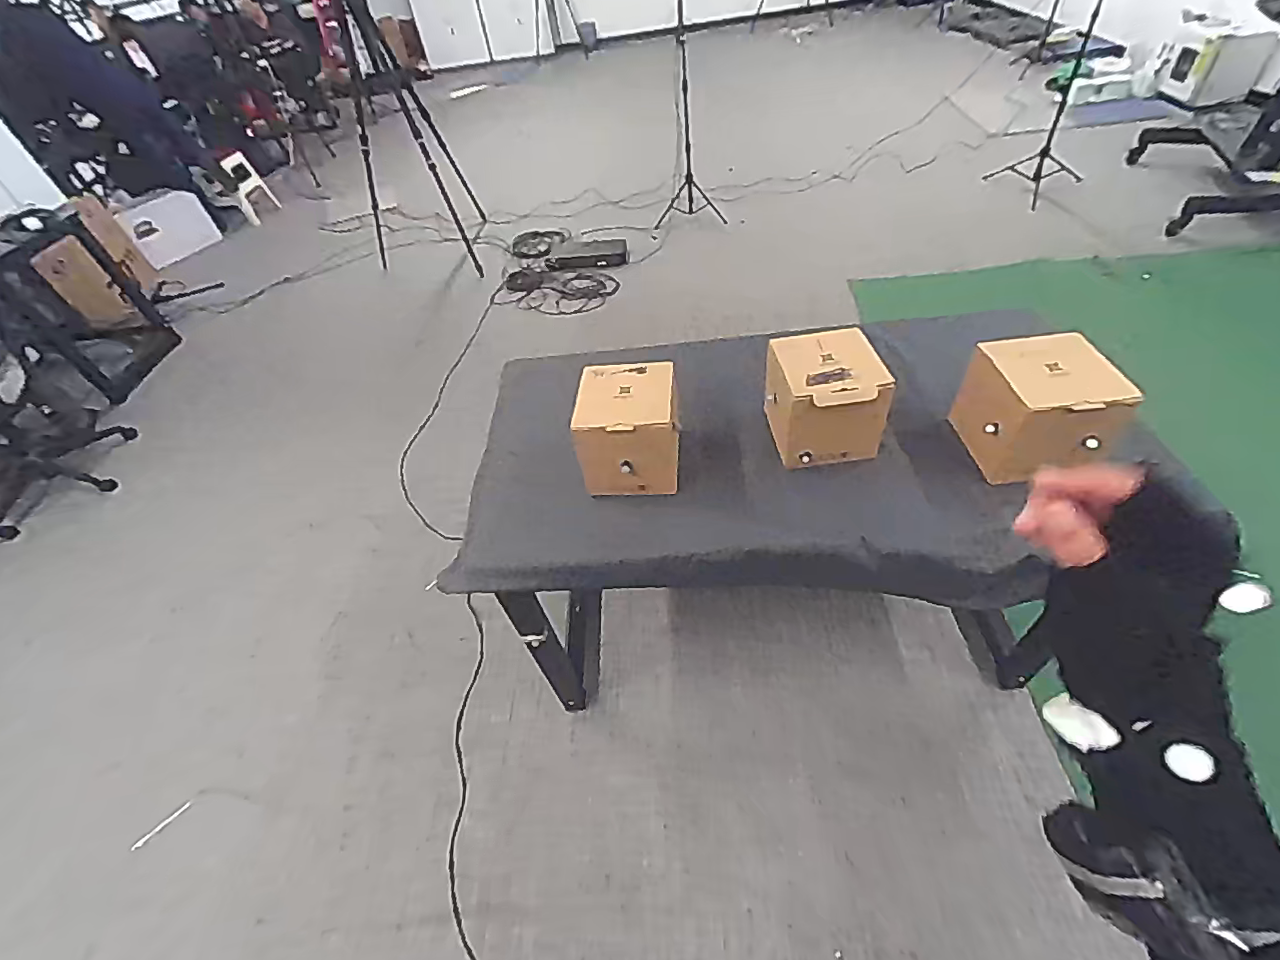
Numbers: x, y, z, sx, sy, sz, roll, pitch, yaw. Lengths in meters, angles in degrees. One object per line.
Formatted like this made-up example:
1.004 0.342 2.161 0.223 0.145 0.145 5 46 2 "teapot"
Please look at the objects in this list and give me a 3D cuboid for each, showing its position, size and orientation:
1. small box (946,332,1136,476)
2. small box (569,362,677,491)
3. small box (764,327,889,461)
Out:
0.650 -0.120 0.905 0.168 0.176 0.179 -6 46 3 "small box"
-0.020 -0.092 0.986 0.168 0.176 0.179 -2 47 7 "small box"
0.327 -0.149 0.983 0.168 0.176 0.179 -7 46 2 "small box"
